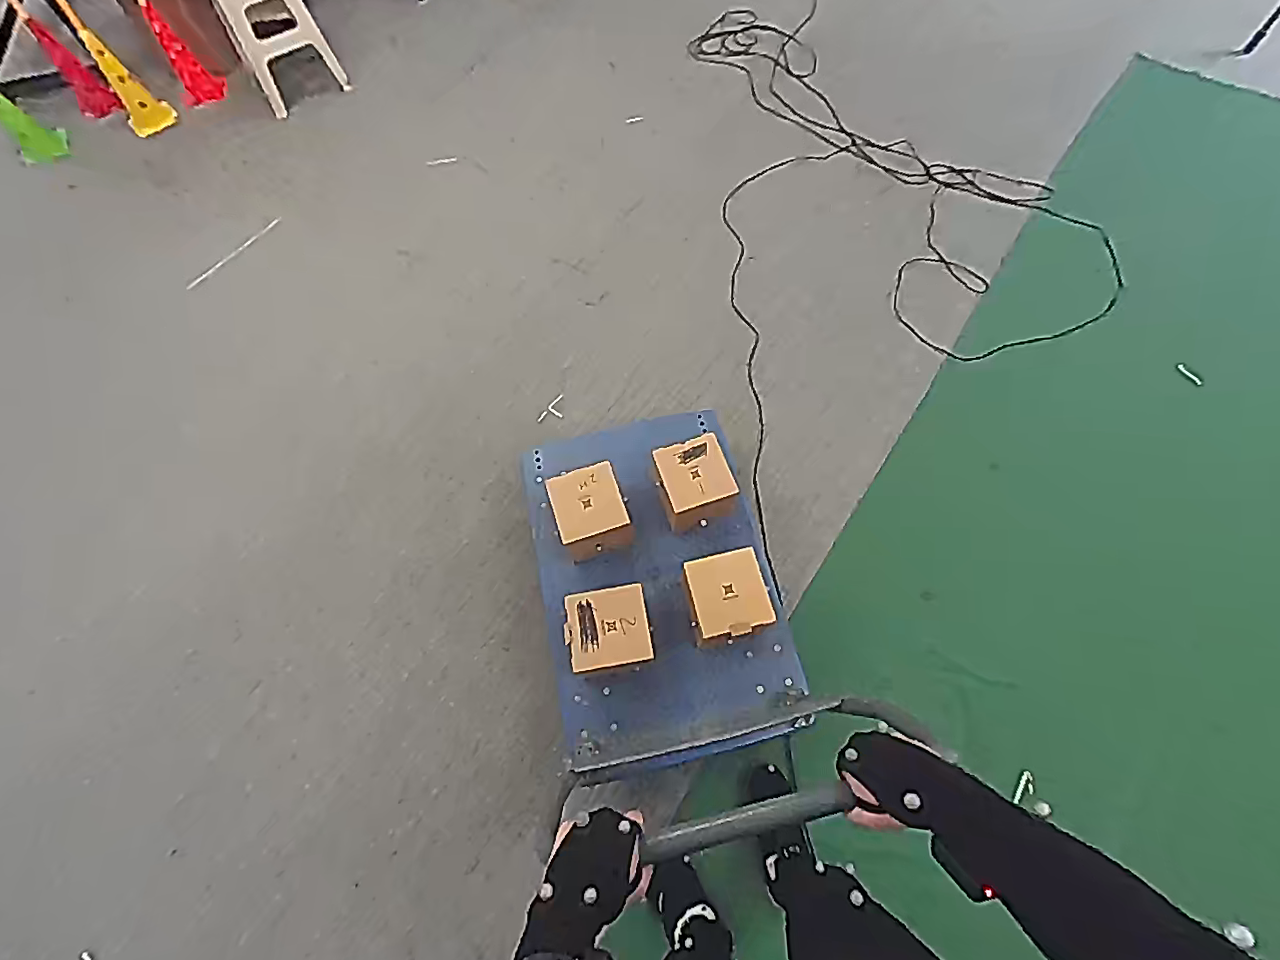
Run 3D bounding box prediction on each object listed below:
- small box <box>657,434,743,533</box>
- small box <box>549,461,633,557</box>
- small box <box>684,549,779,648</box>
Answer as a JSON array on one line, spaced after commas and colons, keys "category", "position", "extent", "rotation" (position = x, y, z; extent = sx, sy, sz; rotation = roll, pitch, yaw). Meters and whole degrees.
[{"category": "small box", "position": [0.144, 0.012, 1.378], "extent": [0.168, 0.176, 0.179], "rotation": [-17, 68, -5]}, {"category": "small box", "position": [-0.117, 0.081, 1.355], "extent": [0.168, 0.176, 0.179], "rotation": [-17, 67, -7]}, {"category": "small box", "position": [0.204, 0.280, 1.262], "extent": [0.168, 0.176, 0.179], "rotation": [-12, 67, -4]}]
